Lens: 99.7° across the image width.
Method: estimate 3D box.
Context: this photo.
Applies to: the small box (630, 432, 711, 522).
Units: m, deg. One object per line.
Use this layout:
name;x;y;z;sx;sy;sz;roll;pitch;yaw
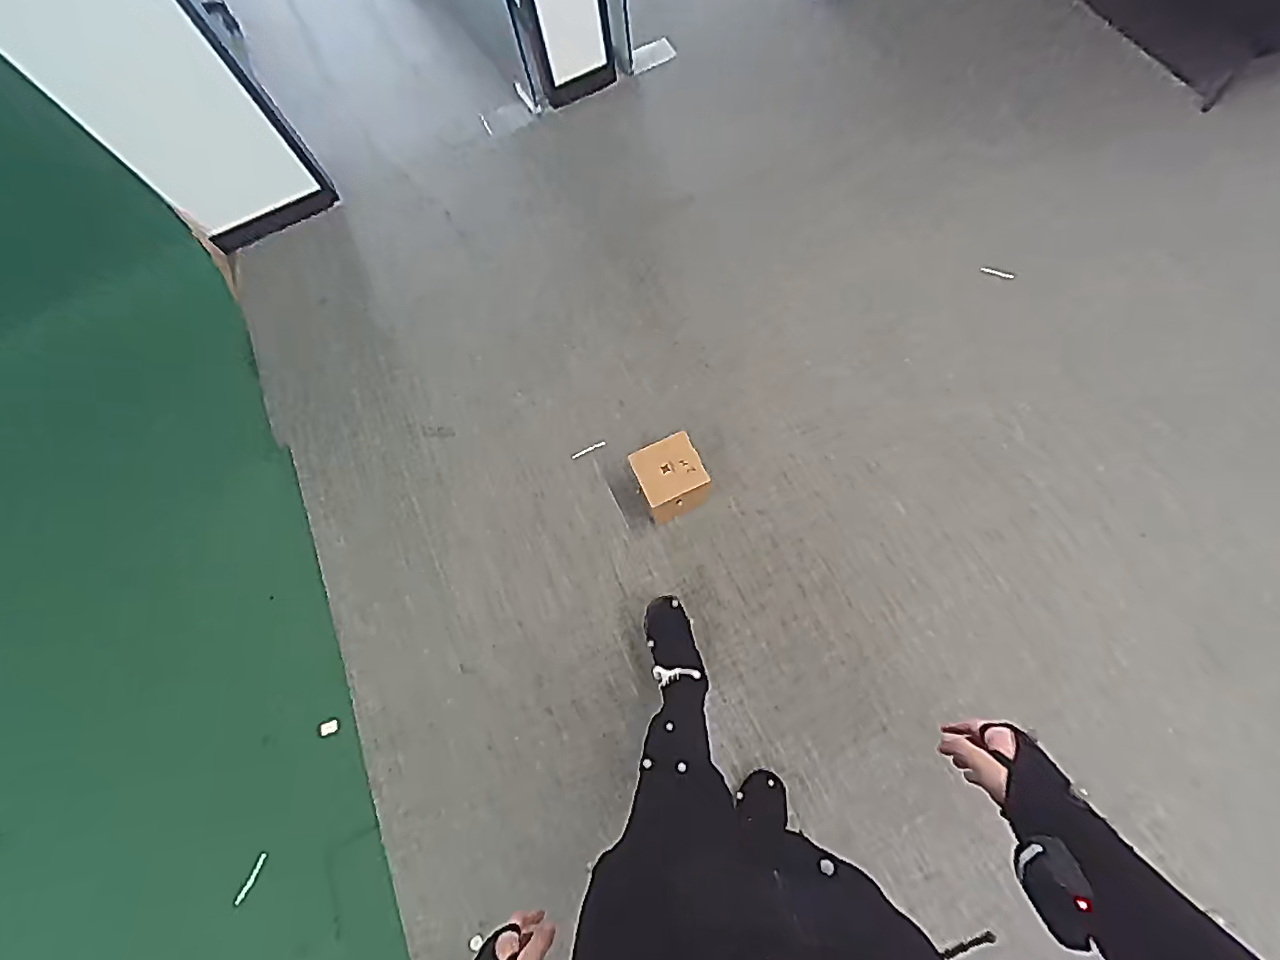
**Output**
small box;0.089;-0.001;1.522;0.179;0.176;0.168;-24;70;-4
